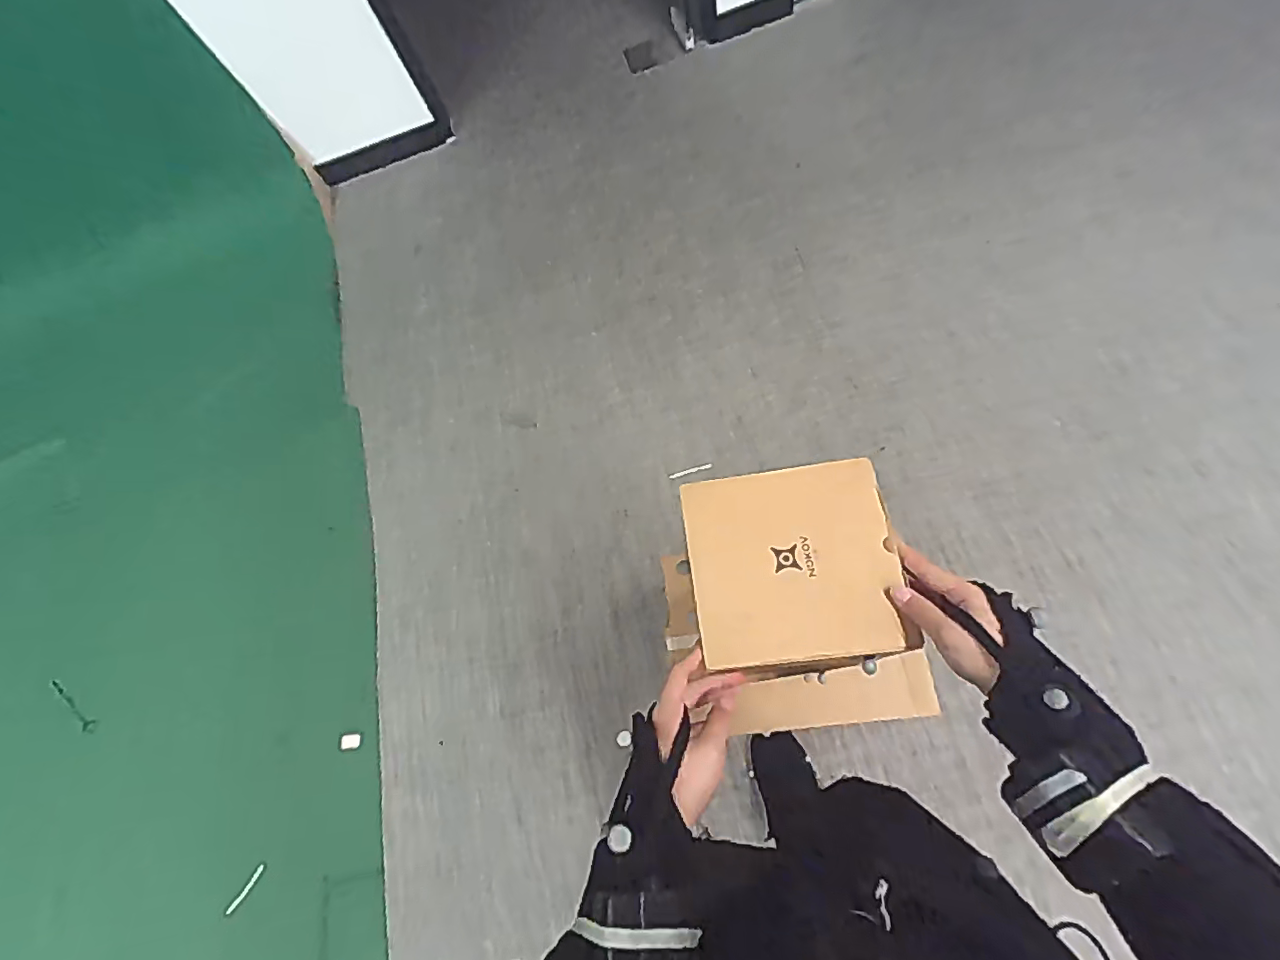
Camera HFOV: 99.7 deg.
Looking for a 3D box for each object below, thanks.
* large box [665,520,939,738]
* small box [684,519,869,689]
[{"bbox_3d":[0.280,0.295,1.054,0.408,0.320,0.320,-10,71,7],"label":"large box"},{"bbox_3d":[0.161,0.162,0.685,0.179,0.176,0.168,-13,68,7],"label":"small box"}]
